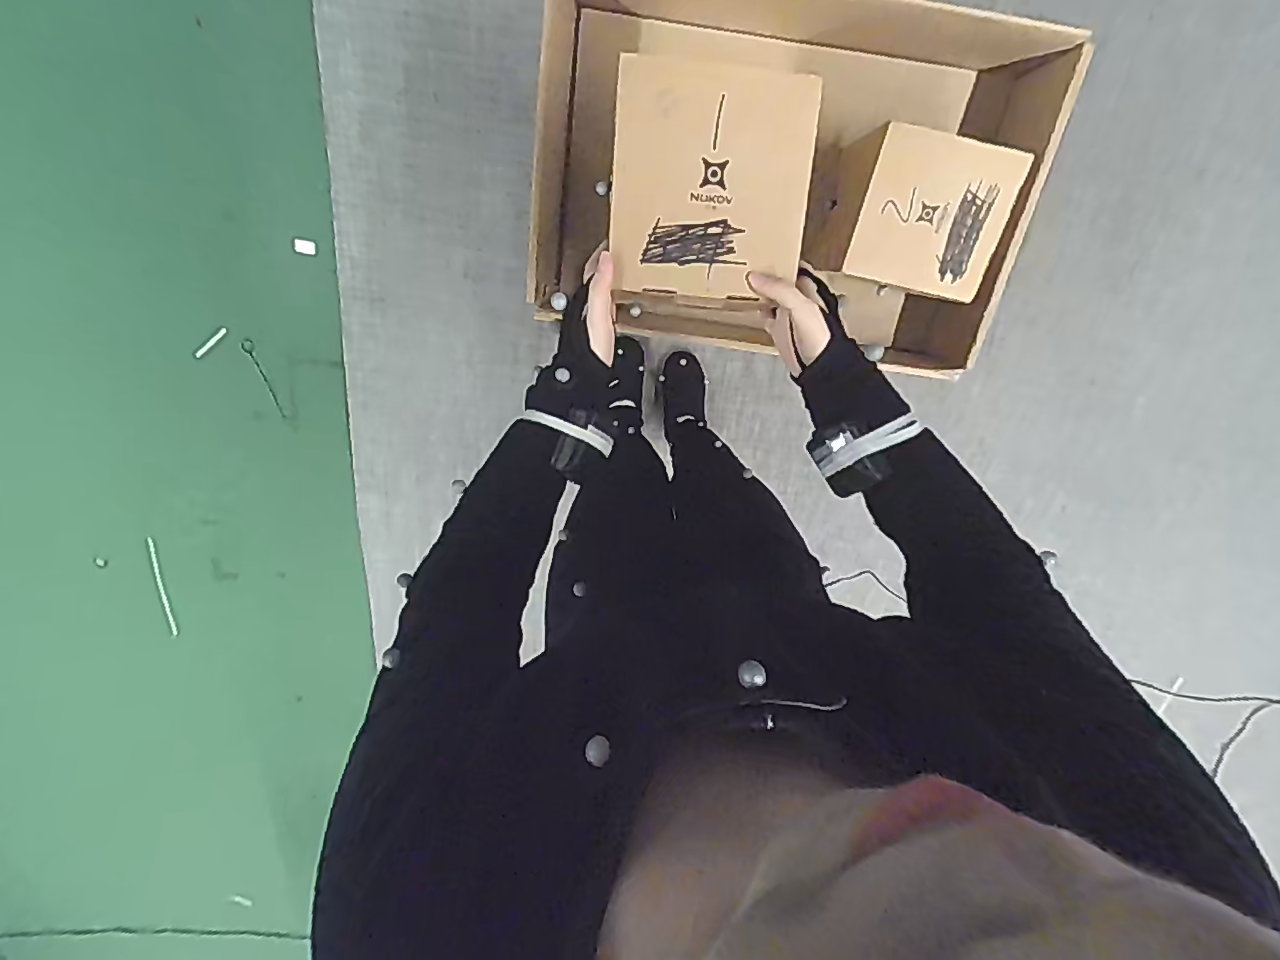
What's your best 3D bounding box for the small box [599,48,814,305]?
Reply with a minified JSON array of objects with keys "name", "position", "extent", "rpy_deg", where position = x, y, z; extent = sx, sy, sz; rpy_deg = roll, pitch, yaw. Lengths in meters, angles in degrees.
[{"name":"small box","position":[0.049,-0.269,0.525],"extent":[0.168,0.176,0.179],"rpy_deg":[3,104,-4]}]
